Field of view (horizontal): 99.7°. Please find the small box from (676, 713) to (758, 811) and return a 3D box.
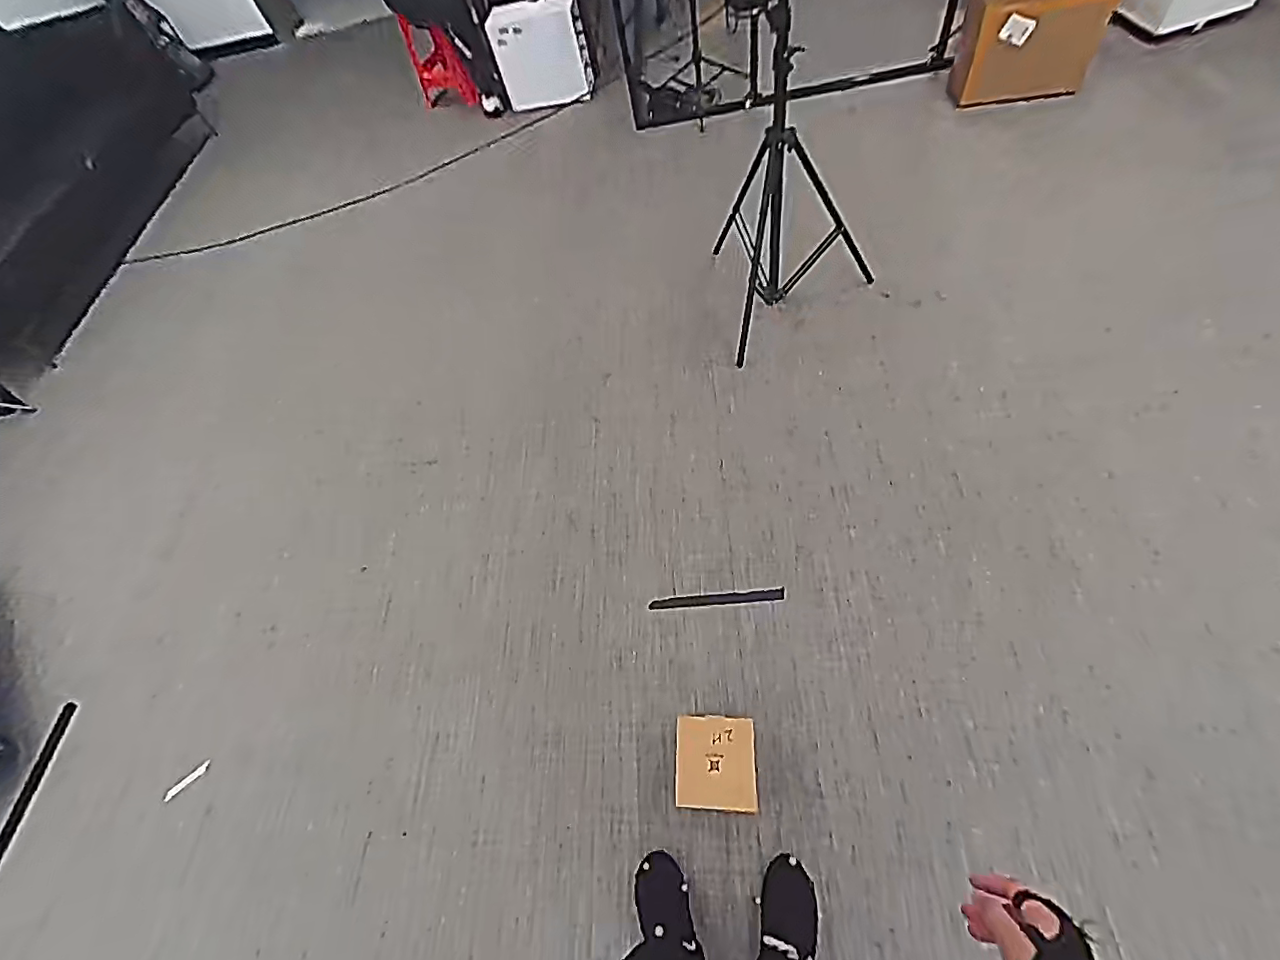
[{"bbox_3d":[0.174,0.621,1.194,0.168,0.176,0.179,-2,60,10],"label":"small box"}]
